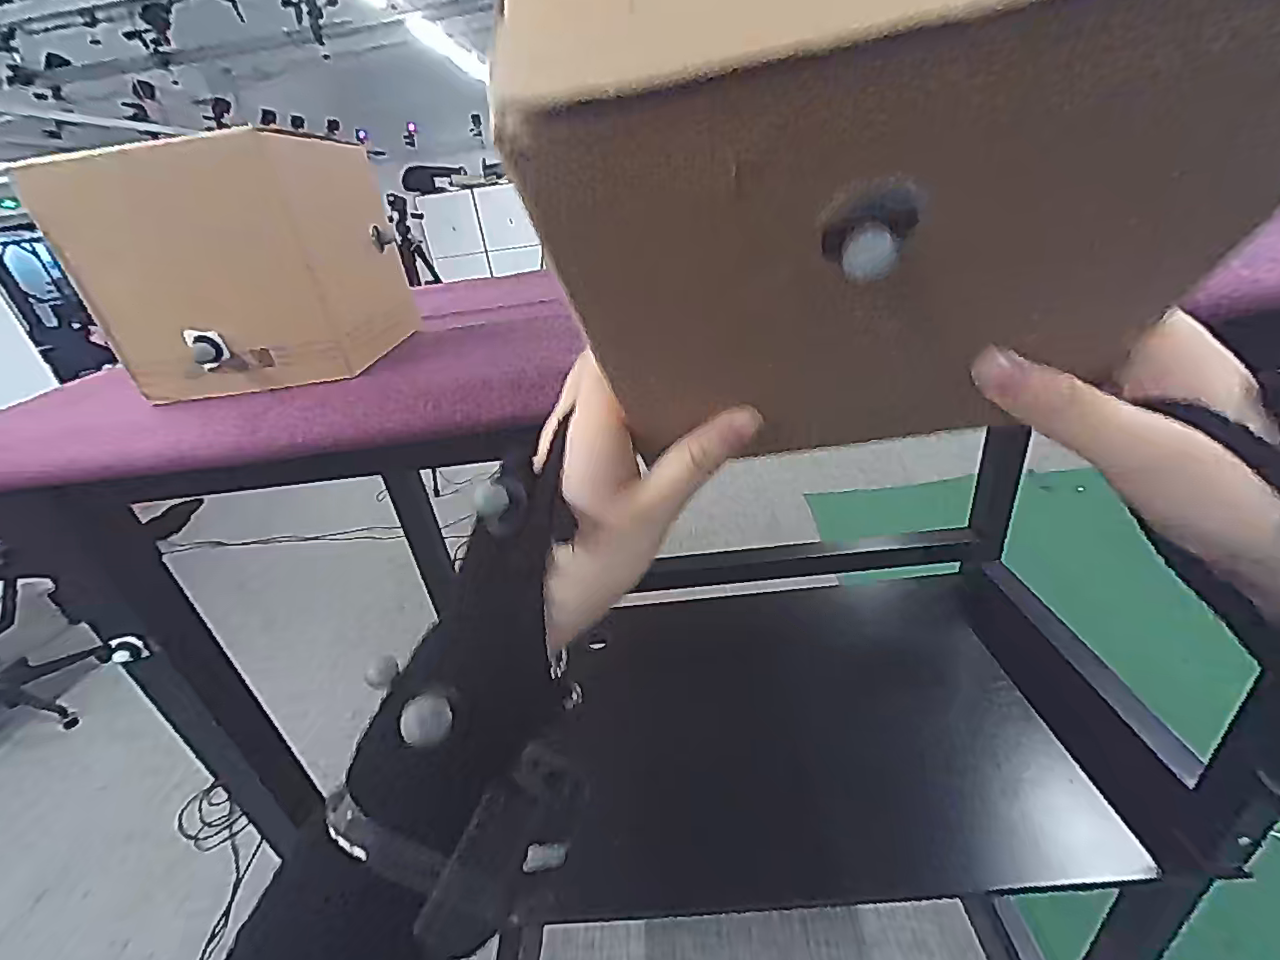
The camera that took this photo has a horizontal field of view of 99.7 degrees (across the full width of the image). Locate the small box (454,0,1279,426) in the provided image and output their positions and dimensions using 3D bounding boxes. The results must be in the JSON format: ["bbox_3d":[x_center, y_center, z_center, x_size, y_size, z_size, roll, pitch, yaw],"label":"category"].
[{"bbox_3d":[0.062,-0.132,0.188,0.179,0.176,0.168,-7,67,8],"label":"small box"}]

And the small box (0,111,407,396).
[{"bbox_3d":[-0.315,-0.182,0.444,0.168,0.176,0.179,-9,29,1],"label":"small box"}]
